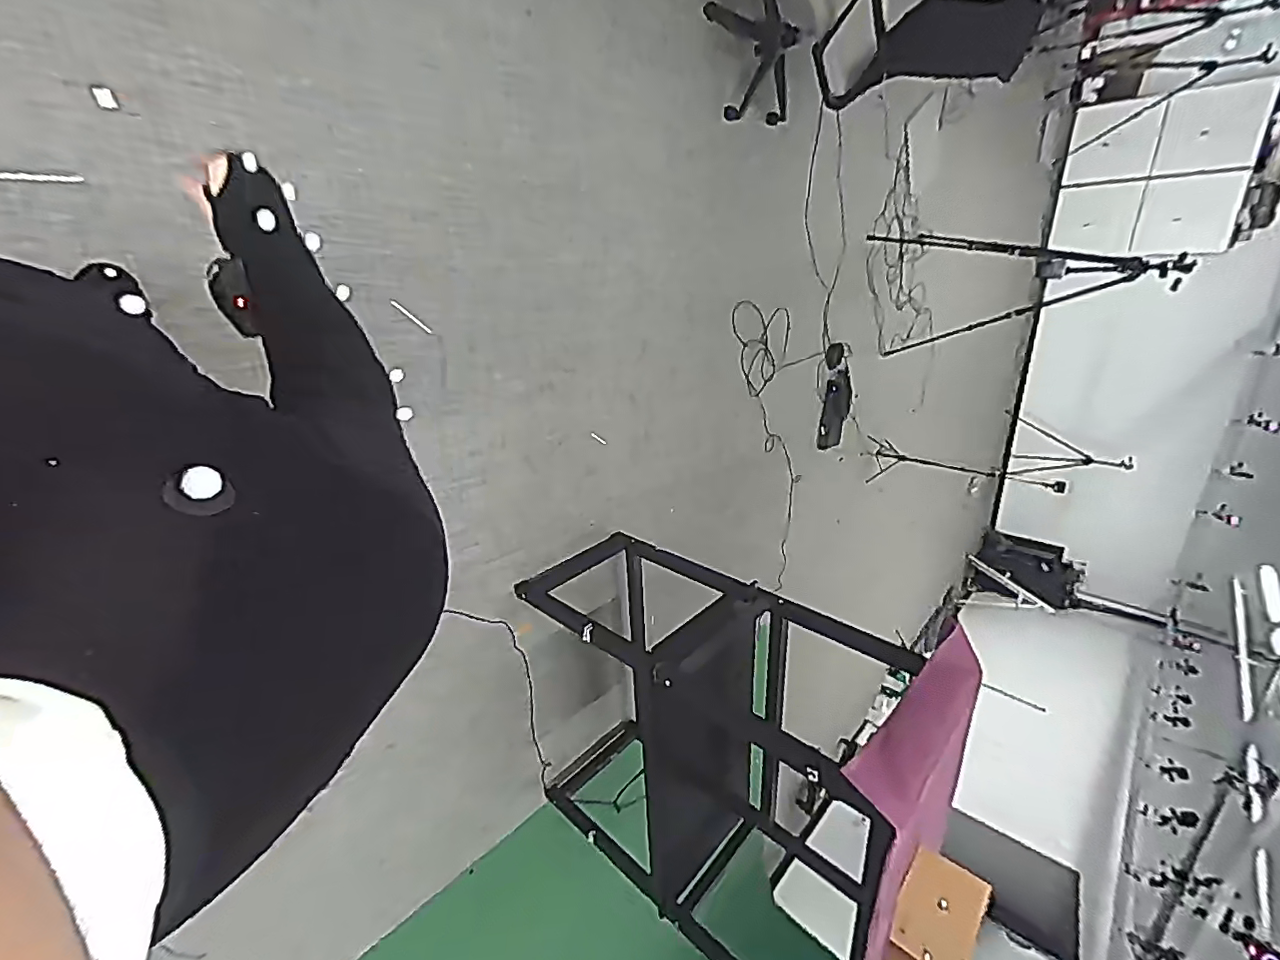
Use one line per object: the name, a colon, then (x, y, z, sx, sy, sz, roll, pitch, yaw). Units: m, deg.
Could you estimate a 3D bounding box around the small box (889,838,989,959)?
small box: (0.737, 1.054, 1.342, 0.179, 0.176, 0.168, -22, 119, -44)
